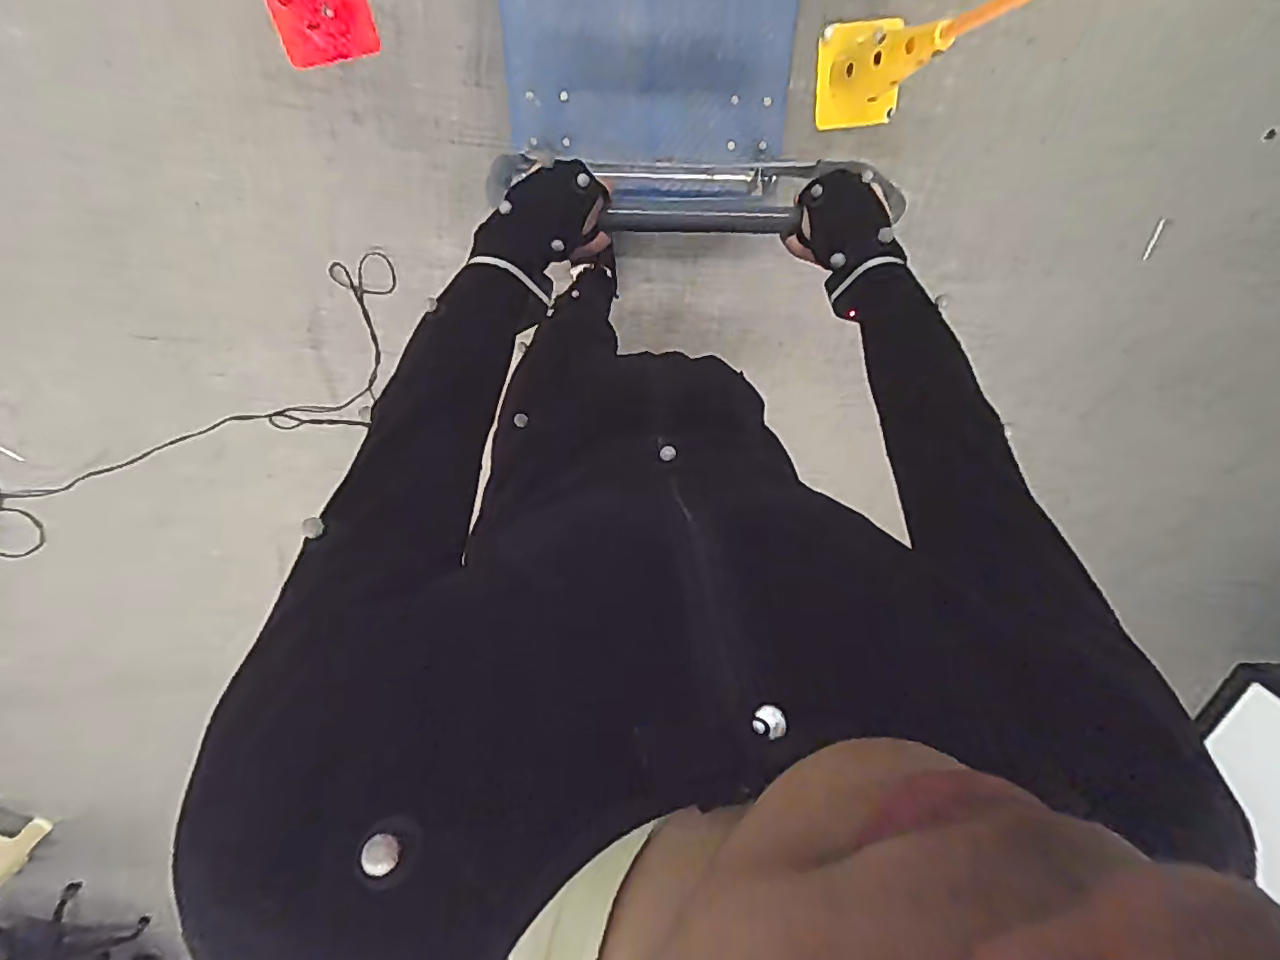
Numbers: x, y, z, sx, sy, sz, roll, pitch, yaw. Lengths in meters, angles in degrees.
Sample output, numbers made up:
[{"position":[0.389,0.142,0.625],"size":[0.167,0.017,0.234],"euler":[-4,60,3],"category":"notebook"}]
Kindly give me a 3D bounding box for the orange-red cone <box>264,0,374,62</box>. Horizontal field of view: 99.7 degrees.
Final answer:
[{"position":[-0.651,-0.904,0.948],"size":[0.199,0.360,0.198],"euler":[-10,118,1],"category":"orange-red cone"}]
